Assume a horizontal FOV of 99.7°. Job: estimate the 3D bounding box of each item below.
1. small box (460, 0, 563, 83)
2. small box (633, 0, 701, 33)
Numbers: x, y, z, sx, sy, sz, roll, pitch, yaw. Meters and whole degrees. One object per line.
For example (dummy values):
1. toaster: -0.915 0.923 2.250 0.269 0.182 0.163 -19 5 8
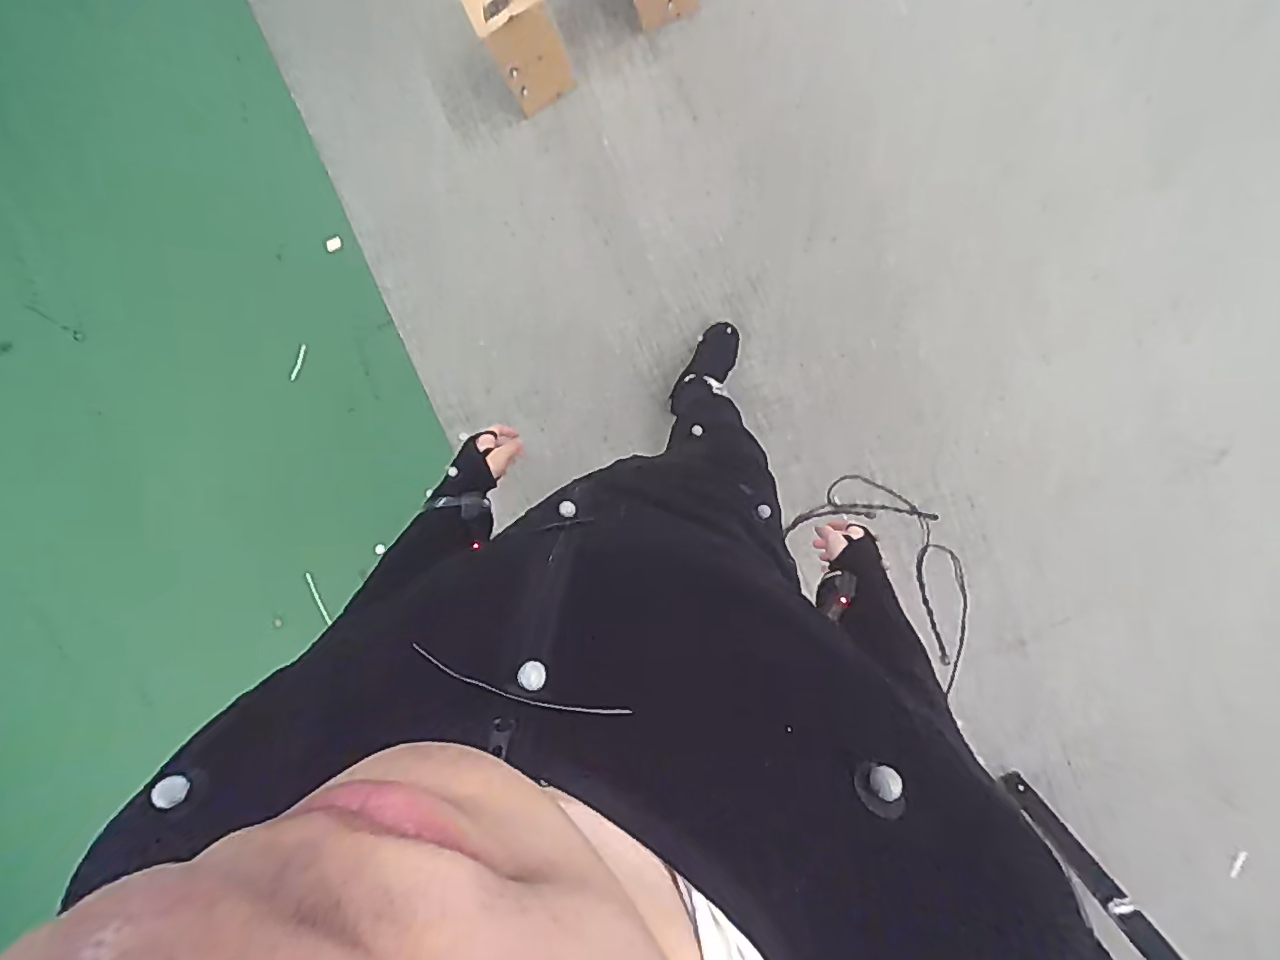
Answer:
1. small box: -0.300 -1.069 1.247 0.168 0.176 0.179 -25 93 9
2. small box: 0.056 -1.267 1.346 0.168 0.176 0.179 -15 97 8
